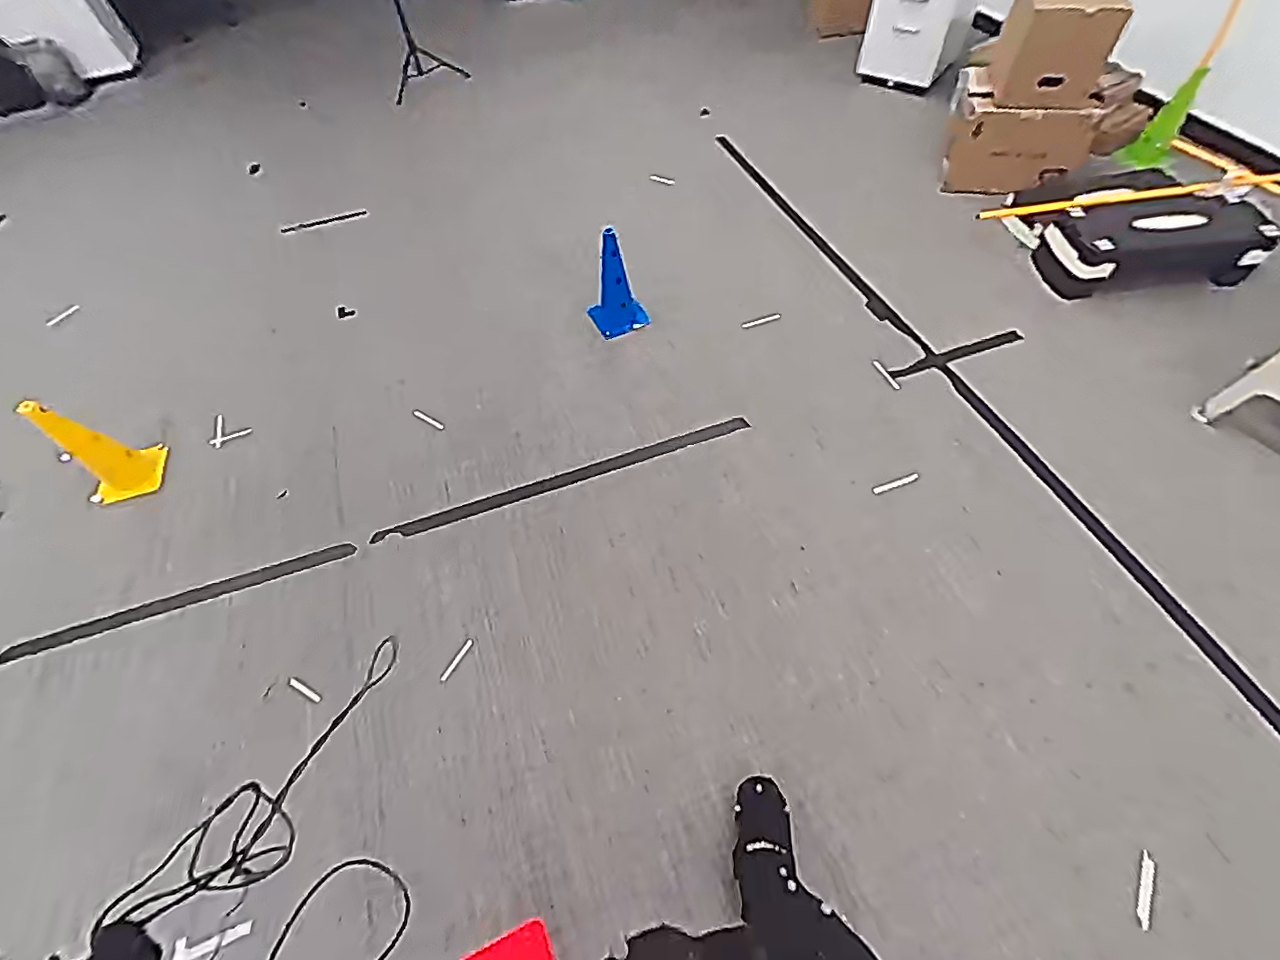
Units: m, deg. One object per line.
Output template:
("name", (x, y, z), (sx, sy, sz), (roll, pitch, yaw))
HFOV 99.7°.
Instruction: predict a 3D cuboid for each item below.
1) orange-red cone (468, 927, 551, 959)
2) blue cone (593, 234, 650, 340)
("orange-red cone", (-0.262, 0.924, 0.904), (0.199, 0.360, 0.198), (-22, 59, -11))
("blue cone", (-0.086, -0.715, 1.960), (0.193, 0.380, 0.192), (-23, 58, -10))
